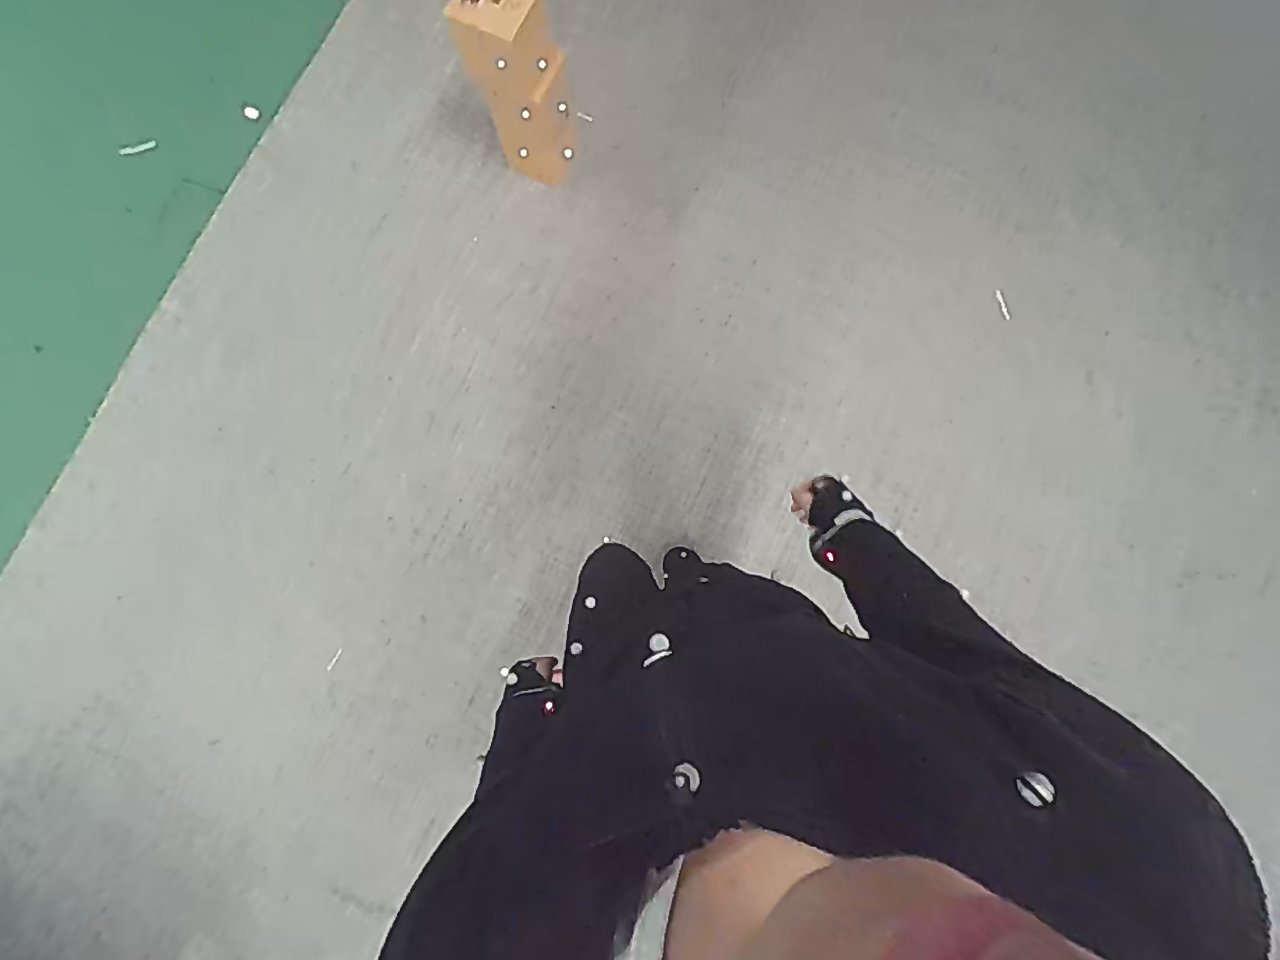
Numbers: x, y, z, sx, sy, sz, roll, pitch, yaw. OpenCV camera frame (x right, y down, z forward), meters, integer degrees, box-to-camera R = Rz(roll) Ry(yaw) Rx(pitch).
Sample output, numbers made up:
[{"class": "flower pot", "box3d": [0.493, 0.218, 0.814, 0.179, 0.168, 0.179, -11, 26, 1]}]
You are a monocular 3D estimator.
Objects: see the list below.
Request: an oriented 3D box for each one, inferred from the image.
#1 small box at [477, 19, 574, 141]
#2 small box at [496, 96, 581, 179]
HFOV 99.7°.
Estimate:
[{"class": "small box", "box3d": [-0.289, -1.034, 1.413, 0.179, 0.176, 0.168, 24, 85, 4]}, {"class": "small box", "box3d": [-0.287, -1.019, 1.578, 0.179, 0.176, 0.168, 23, 85, 4]}]
